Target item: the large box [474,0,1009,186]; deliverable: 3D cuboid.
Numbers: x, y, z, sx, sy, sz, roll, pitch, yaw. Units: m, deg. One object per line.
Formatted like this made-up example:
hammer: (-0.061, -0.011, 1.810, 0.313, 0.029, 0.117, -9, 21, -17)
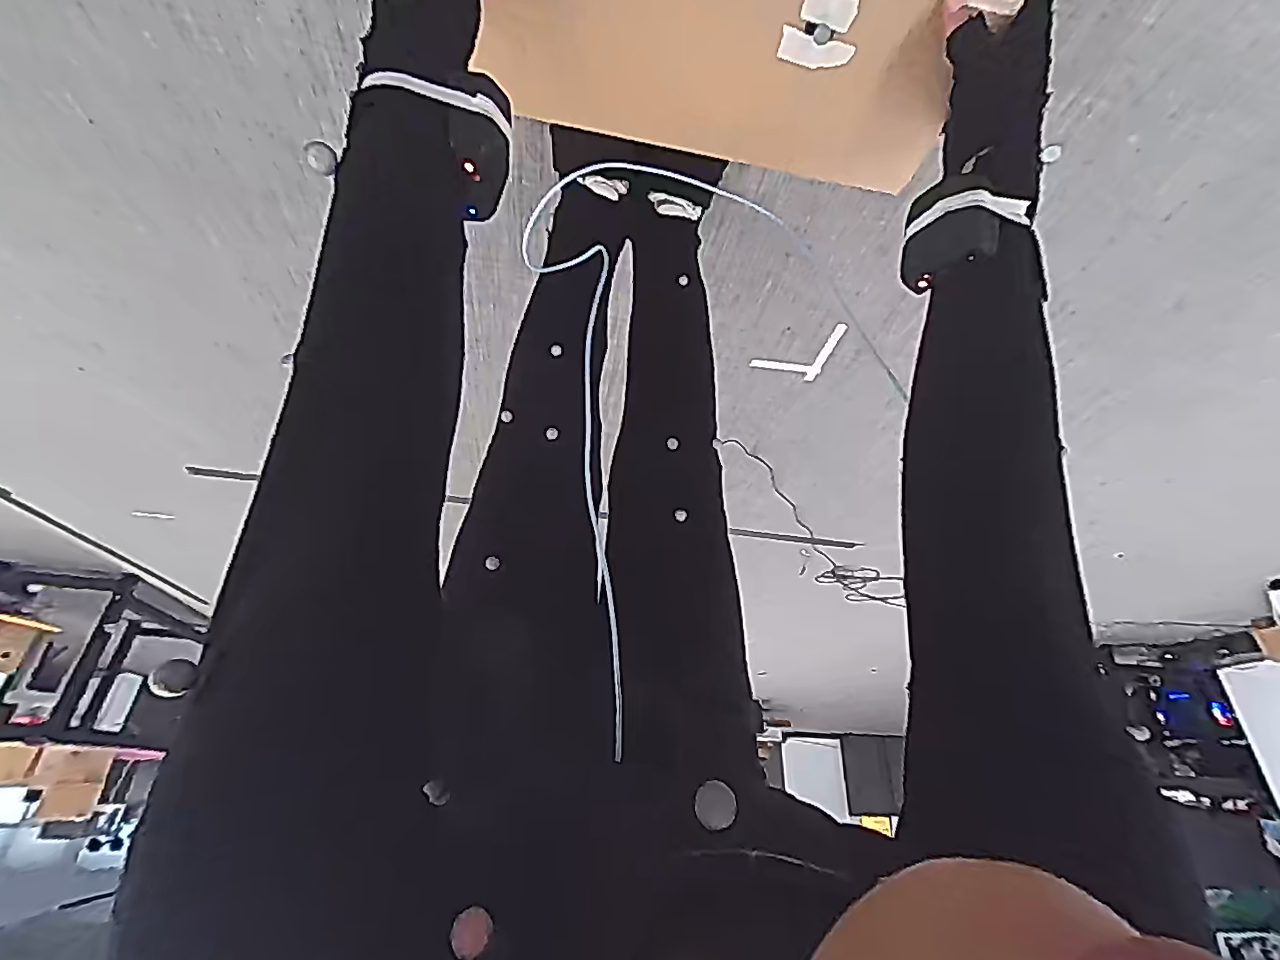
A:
large box: (0.083, -0.510, 0.445, 0.408, 0.320, 0.320, 7, 151, -9)
